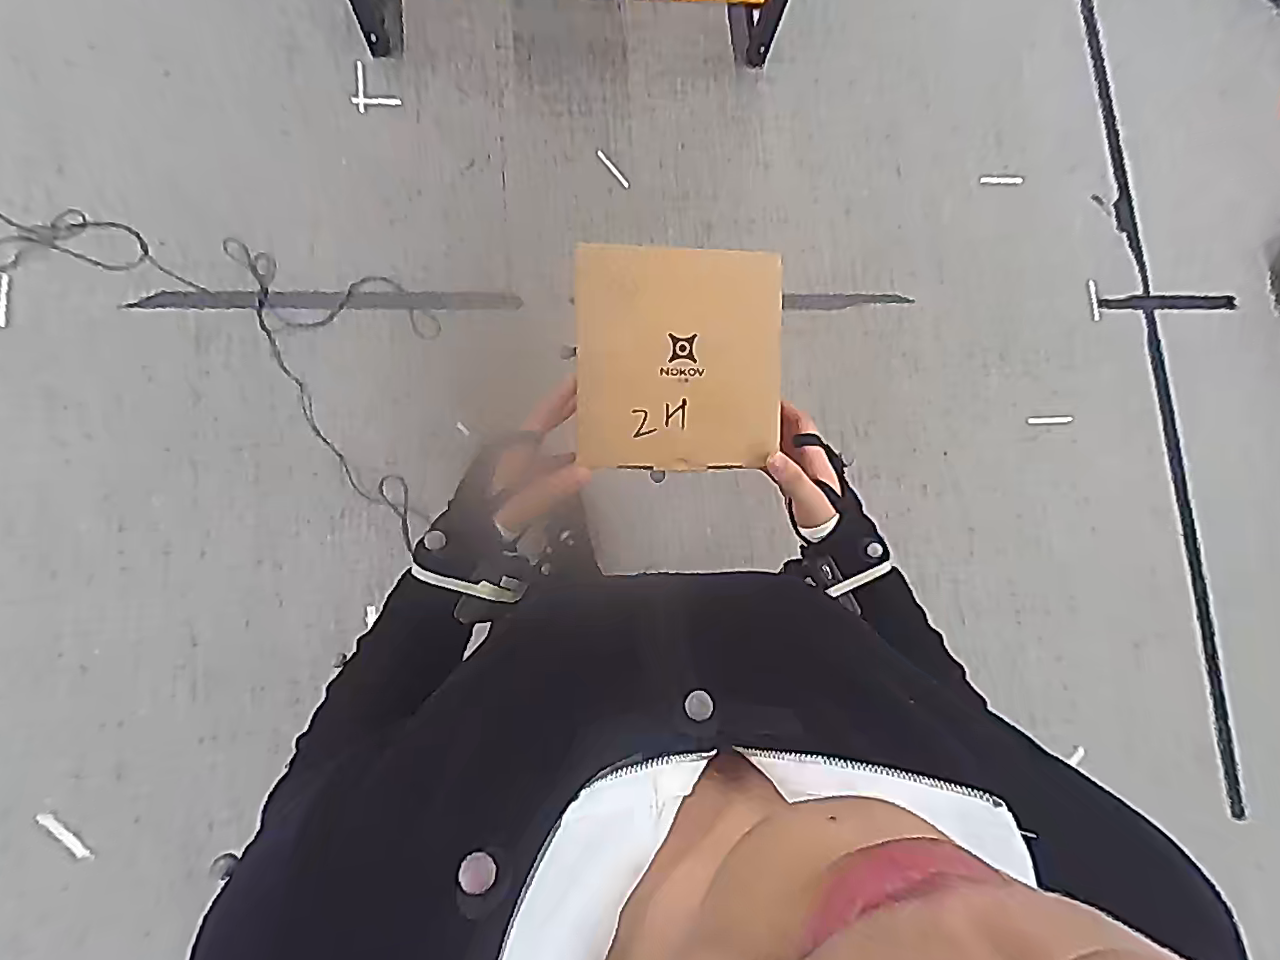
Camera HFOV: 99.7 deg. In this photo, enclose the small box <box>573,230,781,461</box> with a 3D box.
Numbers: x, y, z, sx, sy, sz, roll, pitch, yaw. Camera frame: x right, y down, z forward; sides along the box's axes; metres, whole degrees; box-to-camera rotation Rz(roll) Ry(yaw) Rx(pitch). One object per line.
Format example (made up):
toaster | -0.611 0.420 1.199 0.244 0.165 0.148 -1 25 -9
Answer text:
small box | 0.022 -0.108 0.506 0.168 0.176 0.179 0 92 -7
